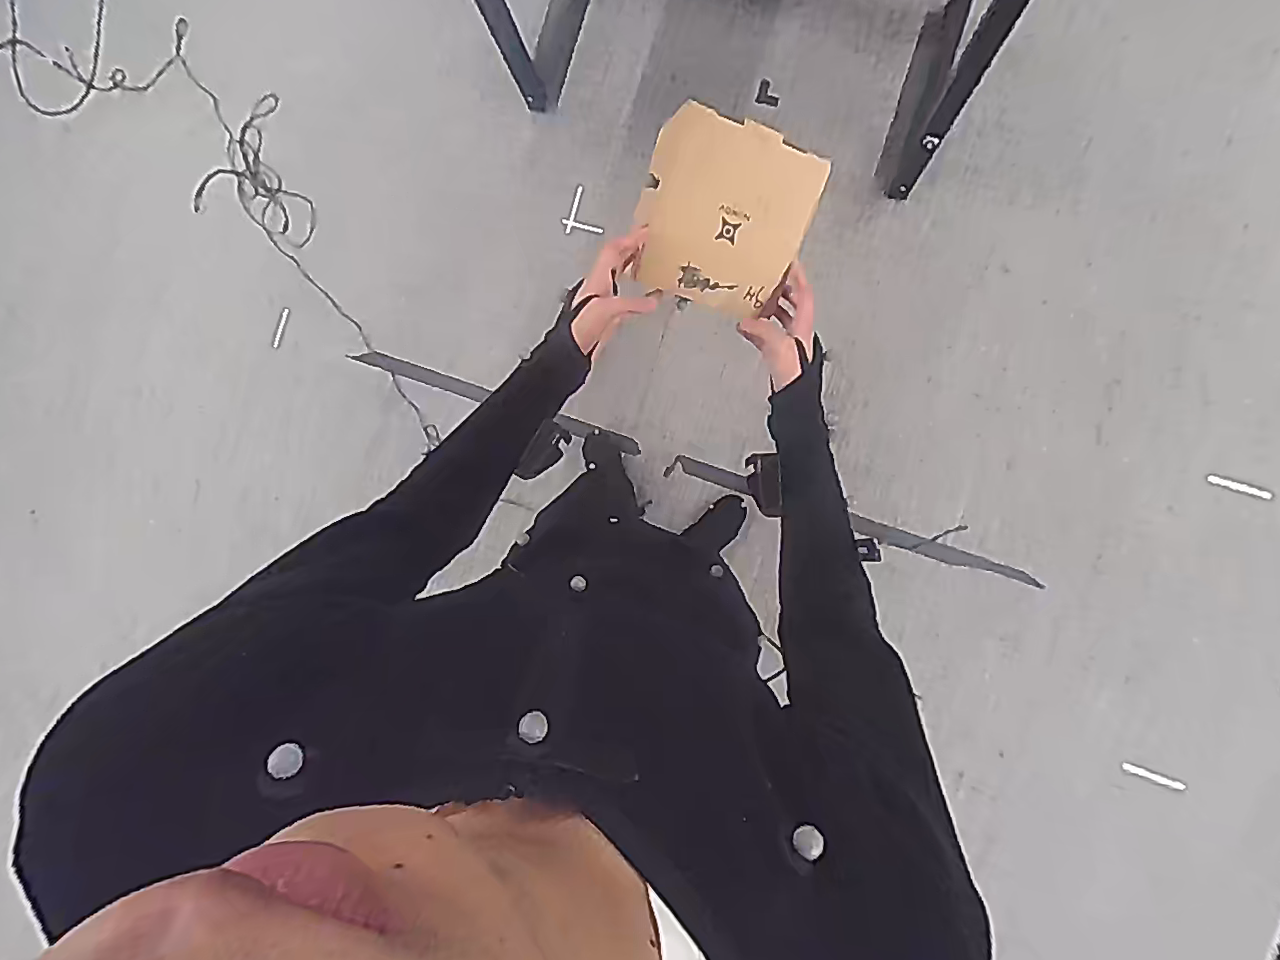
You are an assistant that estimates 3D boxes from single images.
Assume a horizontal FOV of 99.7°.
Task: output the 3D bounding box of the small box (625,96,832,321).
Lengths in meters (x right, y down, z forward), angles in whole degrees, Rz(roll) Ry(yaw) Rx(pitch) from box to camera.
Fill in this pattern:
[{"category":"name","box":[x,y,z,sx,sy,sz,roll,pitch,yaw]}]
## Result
[{"category":"small box","box":[0.086,-0.310,0.641,0.168,0.176,0.179,13,113,-14]}]
